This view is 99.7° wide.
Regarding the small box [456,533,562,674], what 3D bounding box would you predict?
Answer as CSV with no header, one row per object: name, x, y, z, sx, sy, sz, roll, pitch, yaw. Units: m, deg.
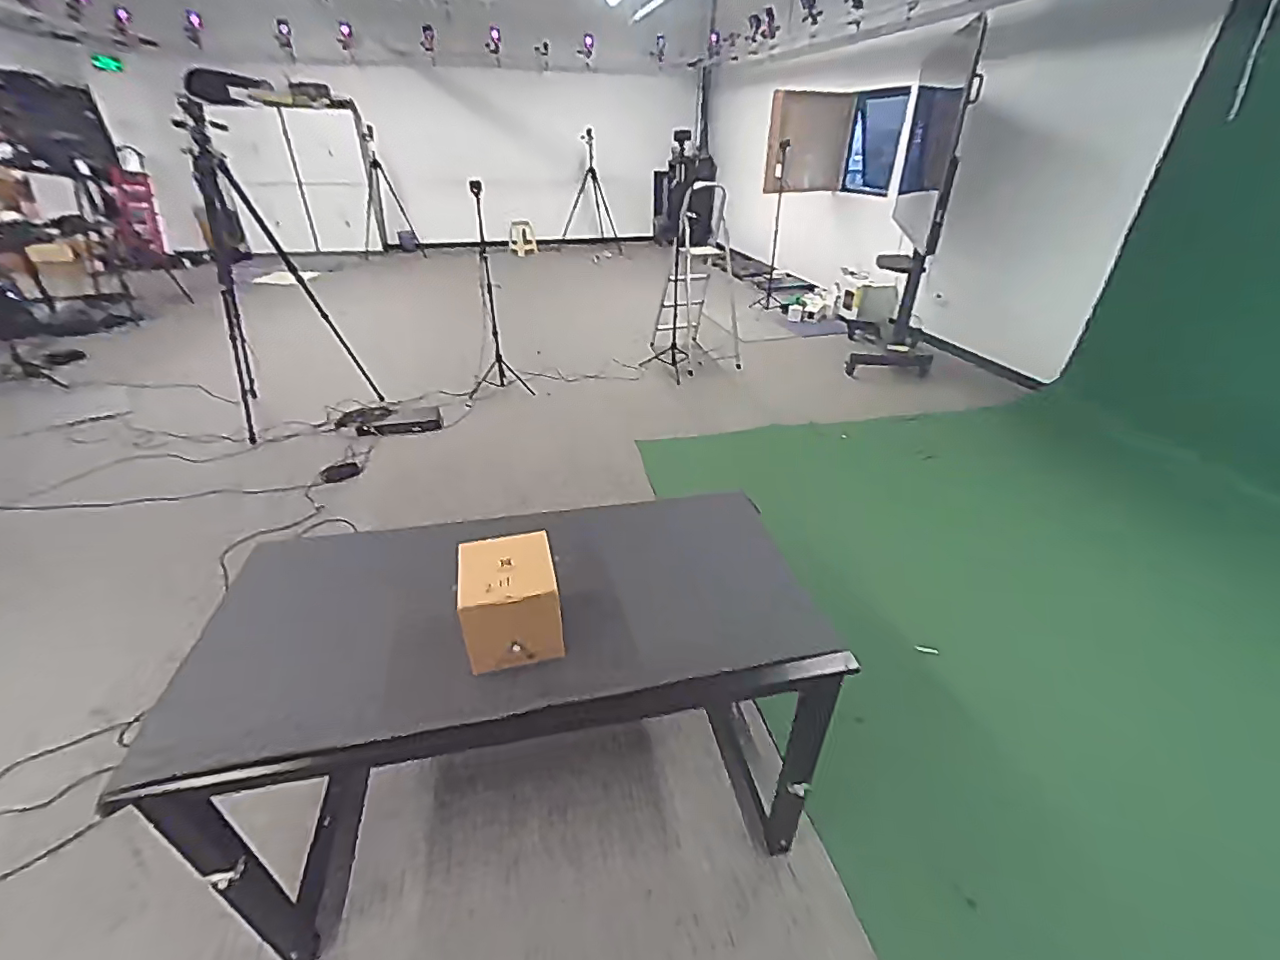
small box,-0.239,0.223,0.998,0.168,0.176,0.179,-8,32,-13
